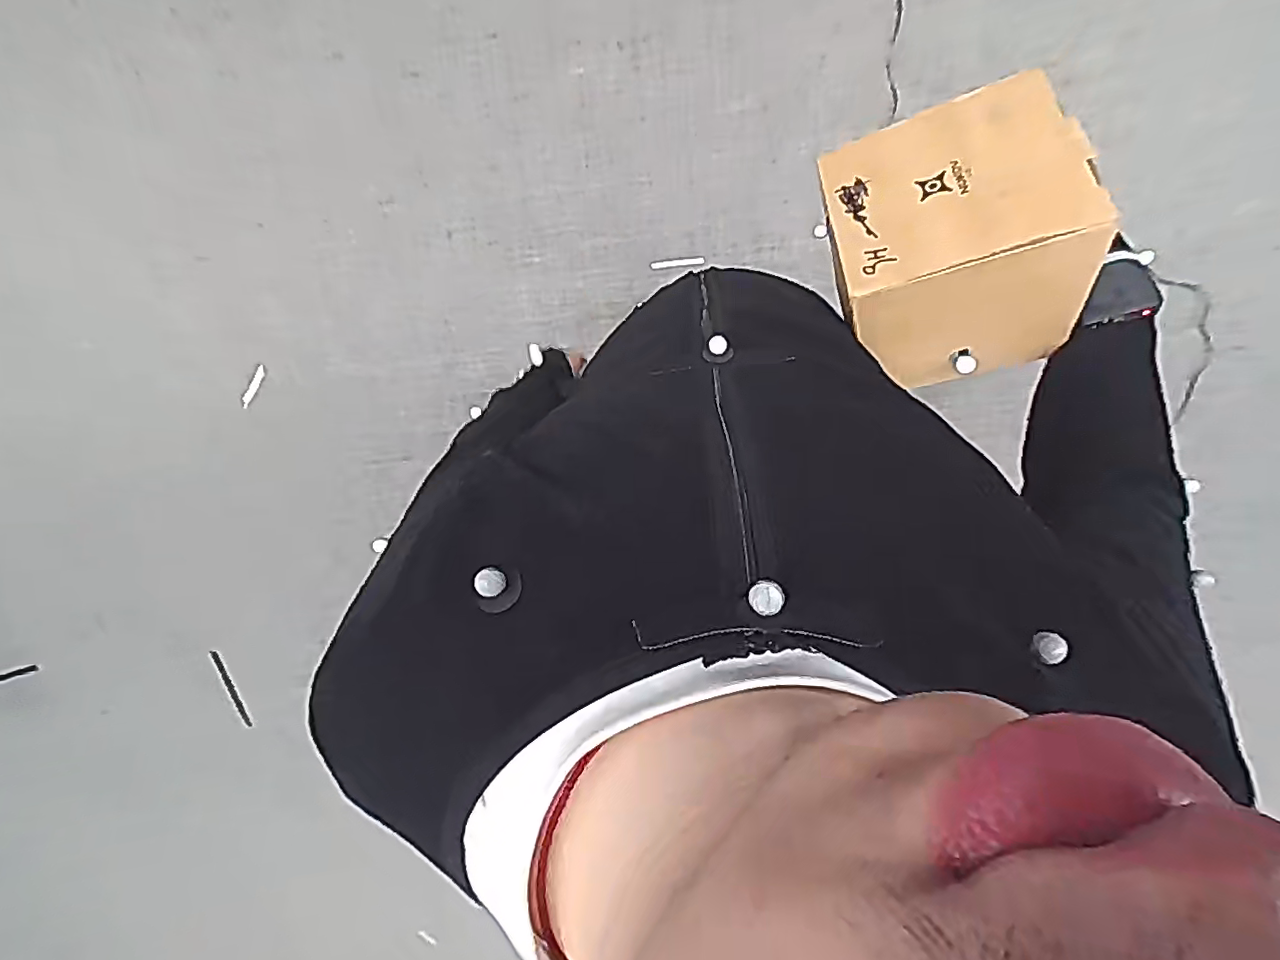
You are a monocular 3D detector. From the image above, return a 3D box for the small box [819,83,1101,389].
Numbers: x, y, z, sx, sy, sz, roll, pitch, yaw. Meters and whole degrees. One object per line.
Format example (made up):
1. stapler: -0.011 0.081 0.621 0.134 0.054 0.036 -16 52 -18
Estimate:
1. small box: 0.279 -0.211 0.513 0.179 0.168 0.176 -12 154 21
